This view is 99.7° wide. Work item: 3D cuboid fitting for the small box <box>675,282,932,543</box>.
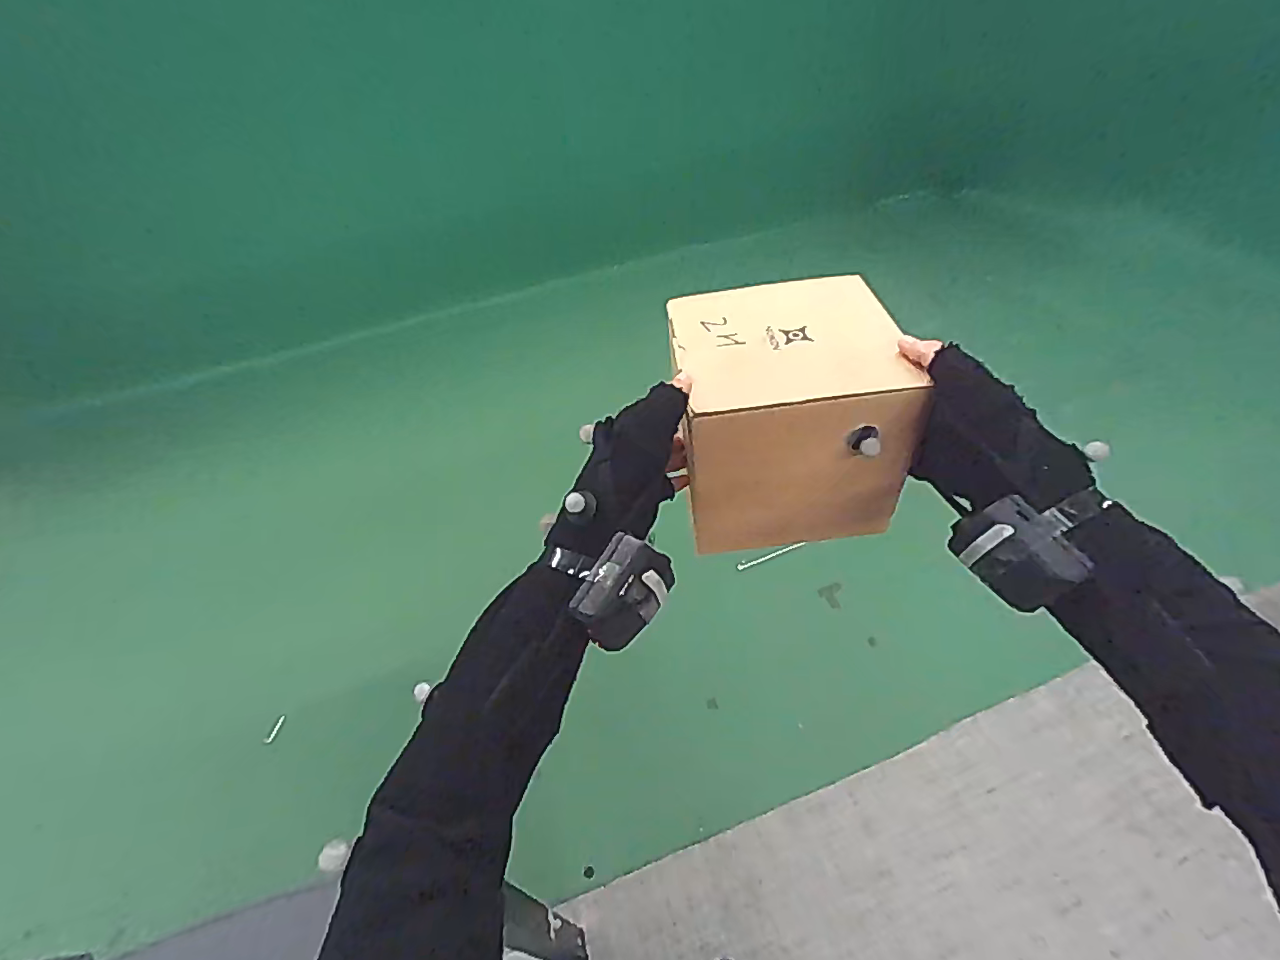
[{"bbox_3d":[0.127,-0.059,0.500,0.179,0.176,0.168,-6,46,2],"label":"small box"}]
